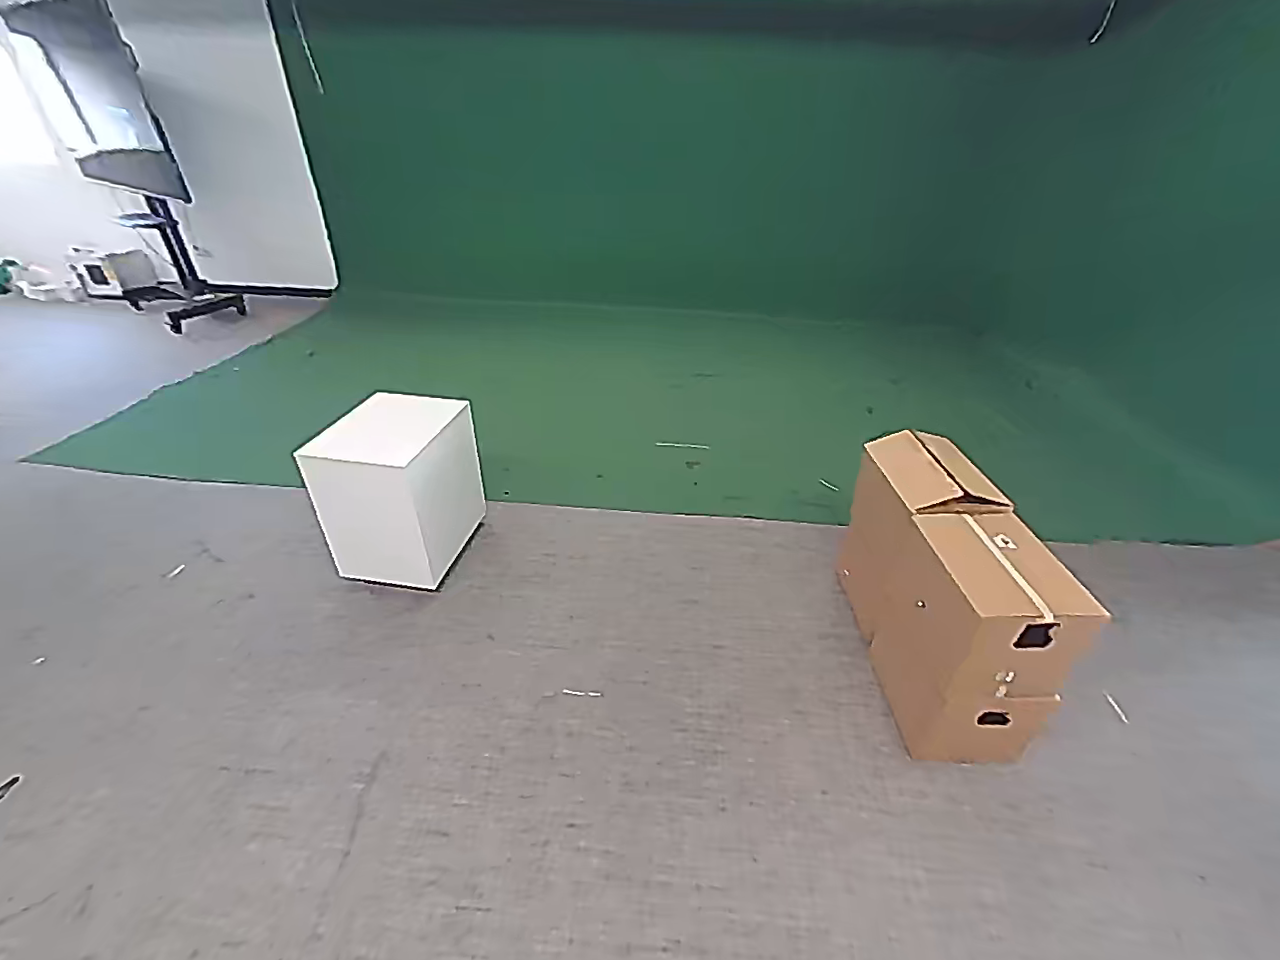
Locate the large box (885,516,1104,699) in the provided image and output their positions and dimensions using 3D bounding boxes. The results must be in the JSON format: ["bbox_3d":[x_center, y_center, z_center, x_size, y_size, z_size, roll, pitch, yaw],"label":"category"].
[{"bbox_3d":[0.941,0.346,1.511,0.320,0.320,0.408,0,32,0],"label":"large box"}]
